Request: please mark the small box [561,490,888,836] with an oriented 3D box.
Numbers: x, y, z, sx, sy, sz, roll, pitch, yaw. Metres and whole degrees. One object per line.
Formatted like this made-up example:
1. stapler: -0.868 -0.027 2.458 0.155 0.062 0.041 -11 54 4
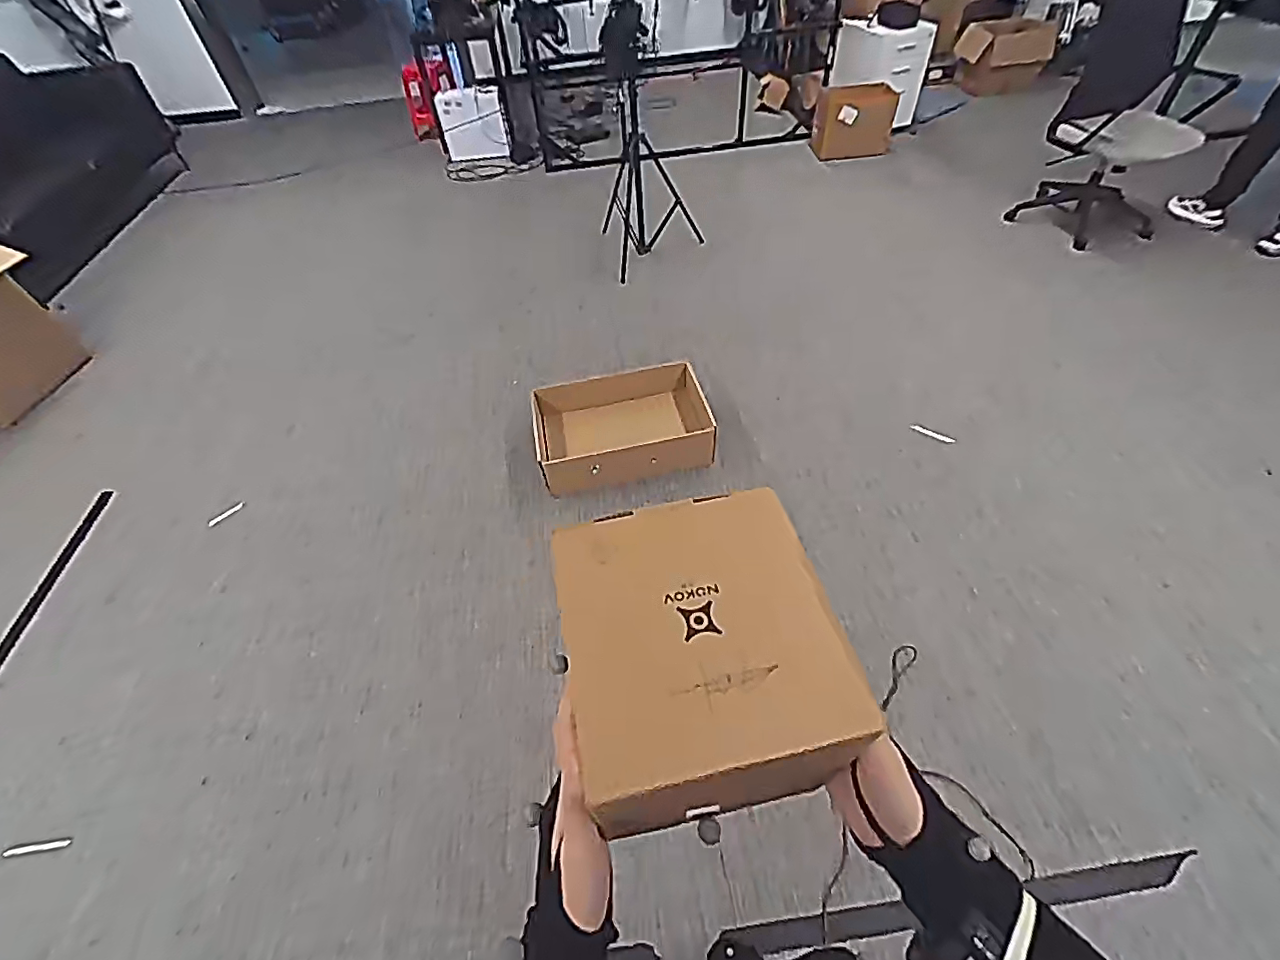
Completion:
1. small box: 0.041 0.137 0.401 0.168 0.176 0.179 -11 52 -7
